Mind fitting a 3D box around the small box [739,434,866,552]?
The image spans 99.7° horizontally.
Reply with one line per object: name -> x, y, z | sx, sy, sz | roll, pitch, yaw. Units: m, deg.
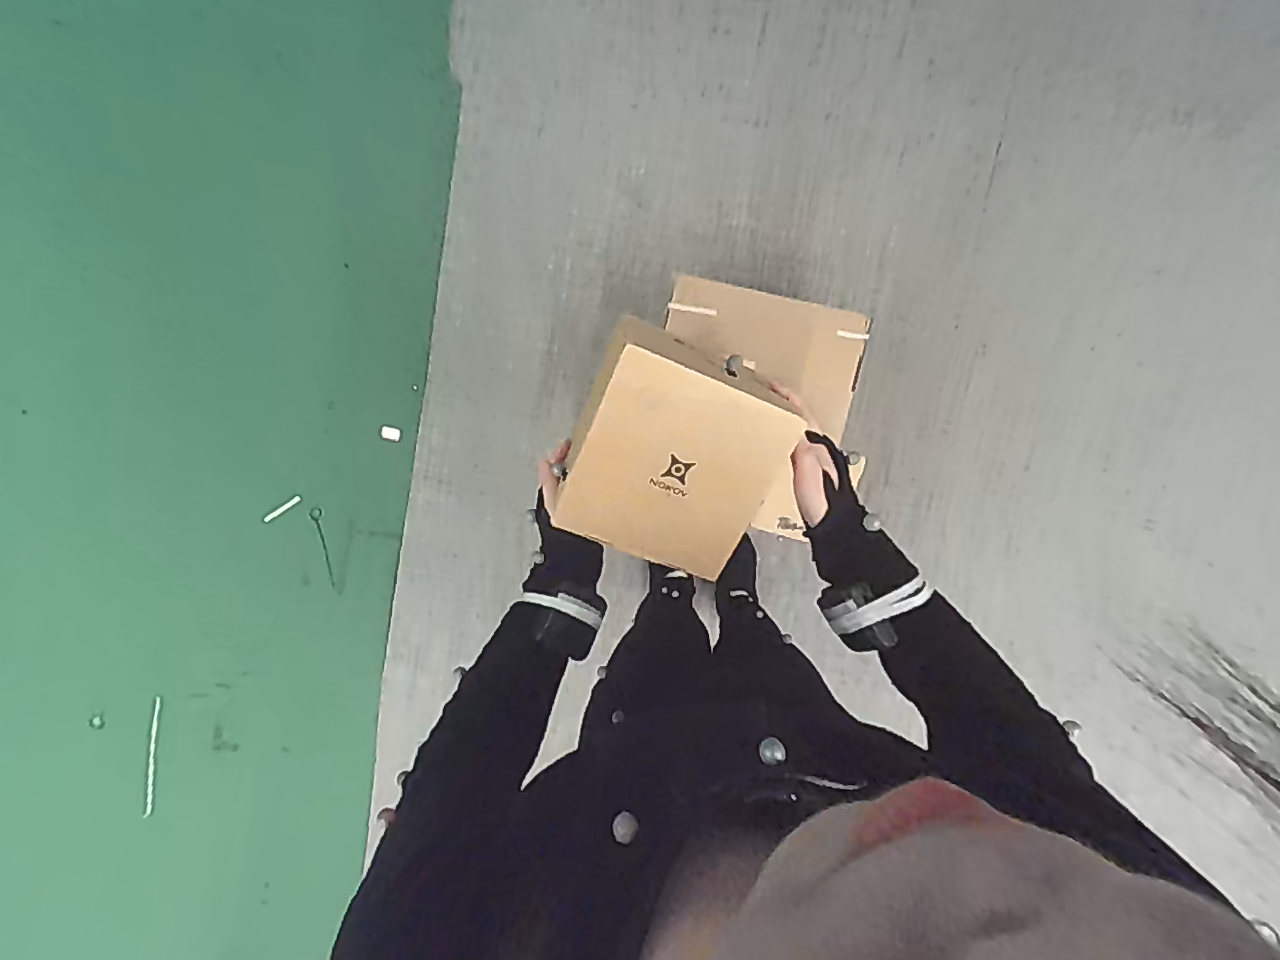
small box -> 0.295, 0.019, 1.023 | 0.168, 0.176, 0.179 | 15, 93, 1
